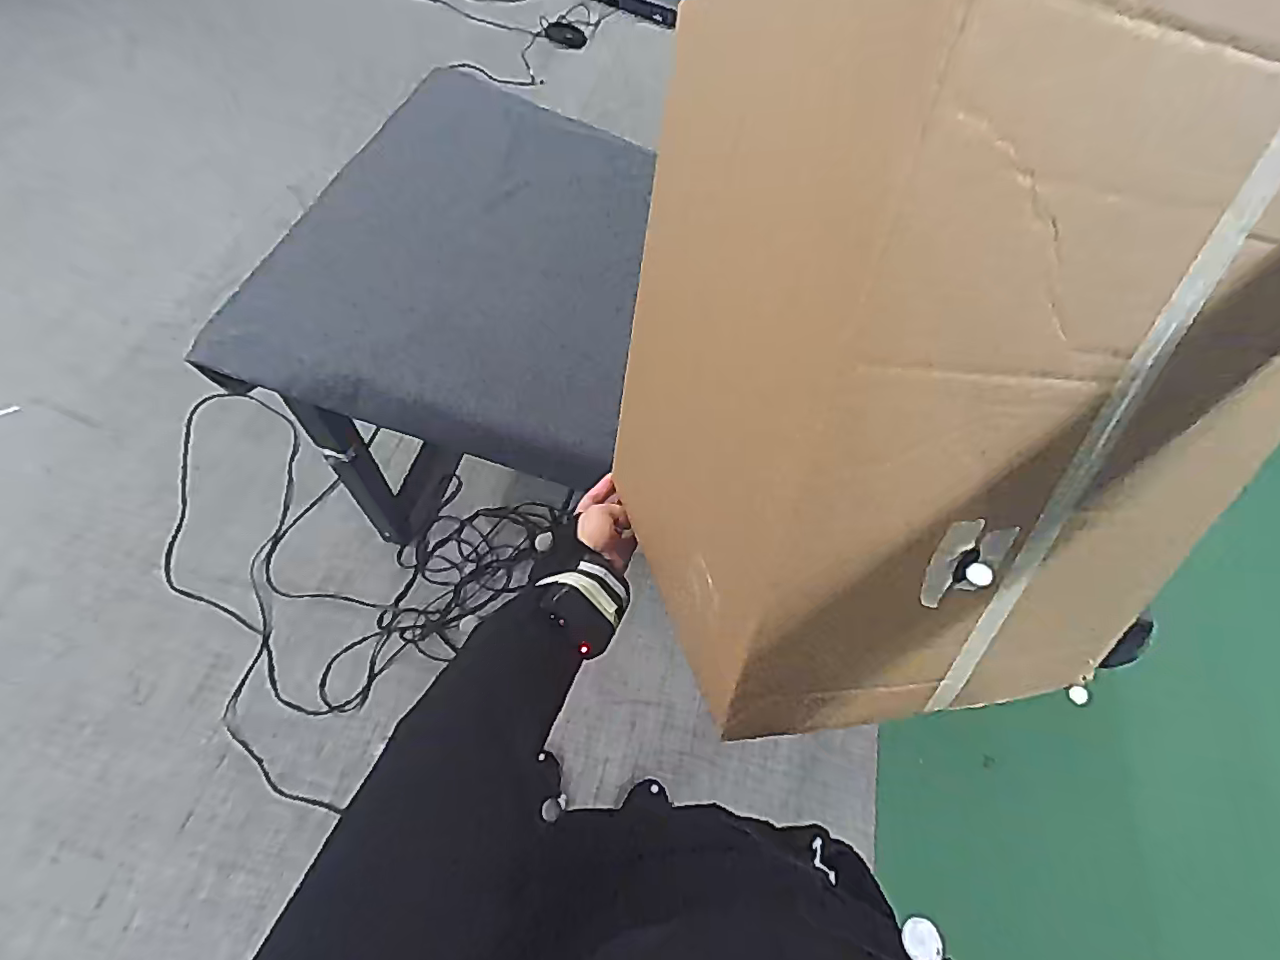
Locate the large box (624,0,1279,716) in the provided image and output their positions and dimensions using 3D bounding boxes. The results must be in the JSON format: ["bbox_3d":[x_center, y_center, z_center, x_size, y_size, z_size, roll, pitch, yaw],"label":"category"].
[{"bbox_3d":[0.188,-0.096,0.419,0.320,0.408,0.320,-1,32,-17],"label":"large box"}]
